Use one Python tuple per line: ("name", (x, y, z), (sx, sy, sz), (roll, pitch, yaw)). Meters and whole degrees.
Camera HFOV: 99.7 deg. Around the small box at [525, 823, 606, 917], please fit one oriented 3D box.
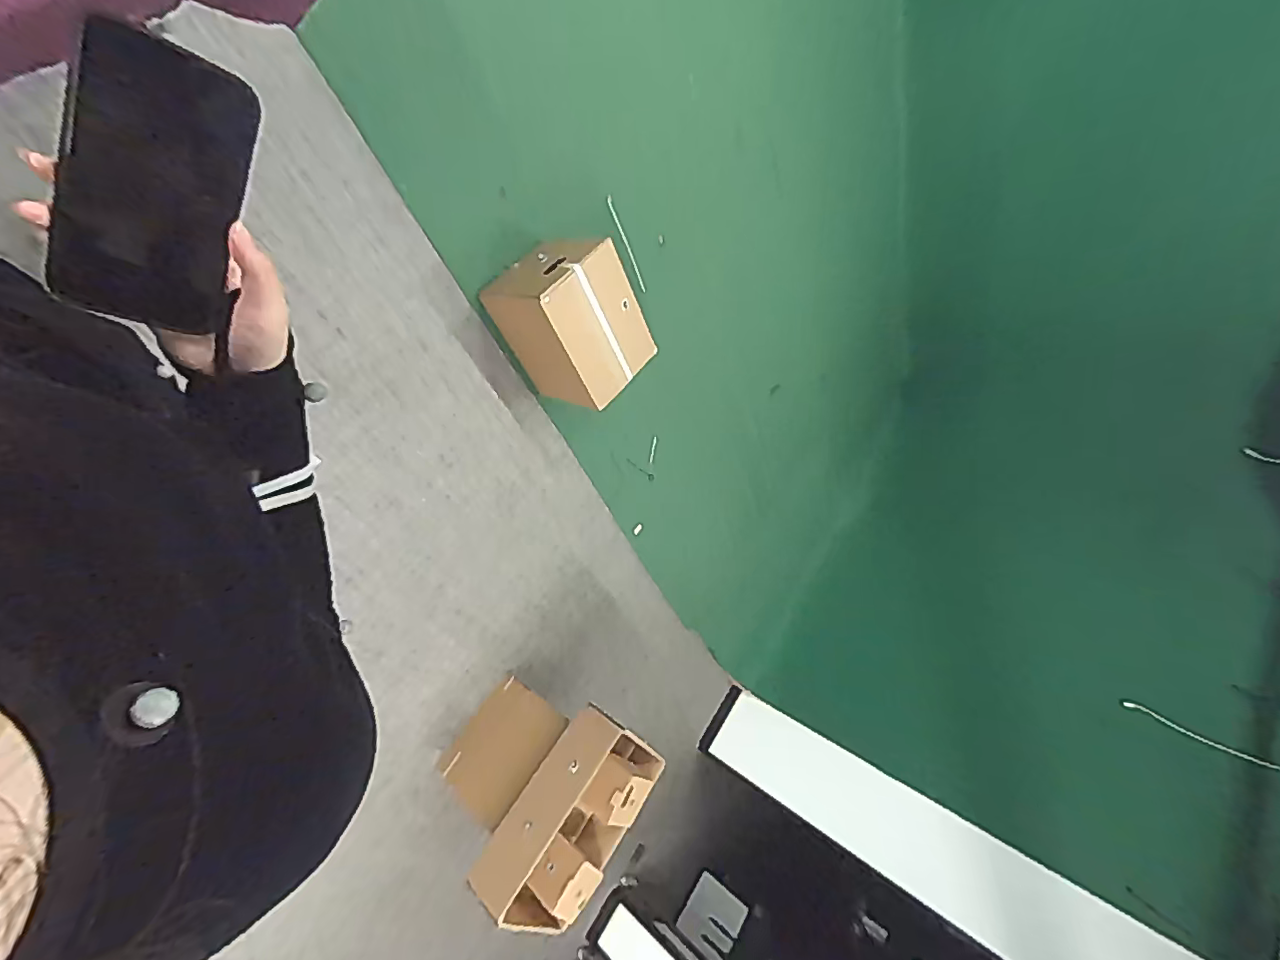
("small box", (-0.246, 1.267, 1.765), (0.168, 0.176, 0.179), (-46, 134, -26))
